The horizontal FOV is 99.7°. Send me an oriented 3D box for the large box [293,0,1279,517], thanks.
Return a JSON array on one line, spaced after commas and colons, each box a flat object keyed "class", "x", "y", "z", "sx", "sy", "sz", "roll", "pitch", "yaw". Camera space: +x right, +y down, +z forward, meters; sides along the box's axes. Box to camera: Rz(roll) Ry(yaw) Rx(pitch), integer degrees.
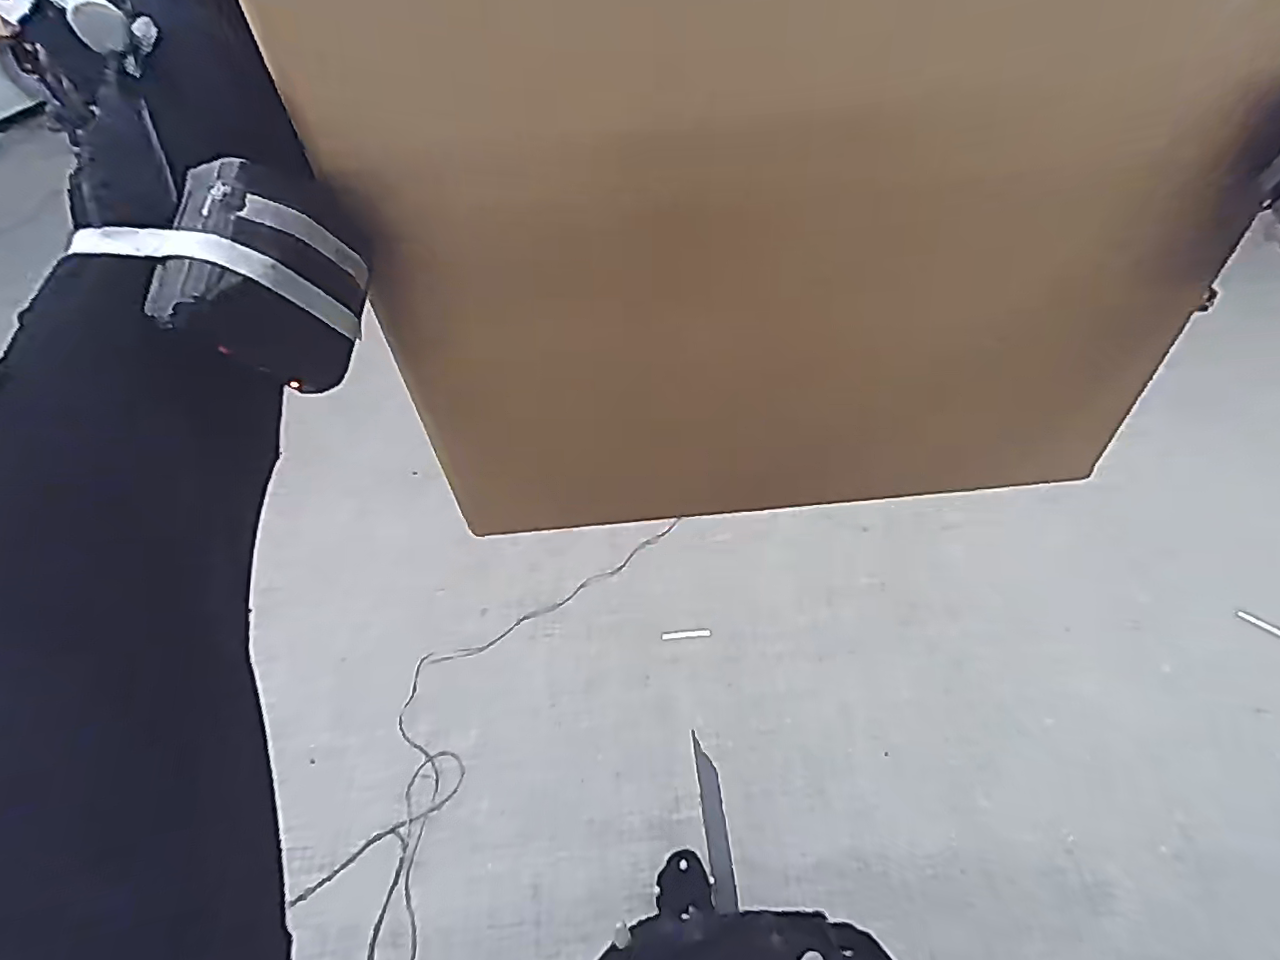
[{"class": "large box", "x": 0.066, "y": -0.201, "z": 0.378, "sx": 0.408, "sy": 0.320, "sz": 0.320, "roll": -5, "pitch": 42, "yaw": -1}]
